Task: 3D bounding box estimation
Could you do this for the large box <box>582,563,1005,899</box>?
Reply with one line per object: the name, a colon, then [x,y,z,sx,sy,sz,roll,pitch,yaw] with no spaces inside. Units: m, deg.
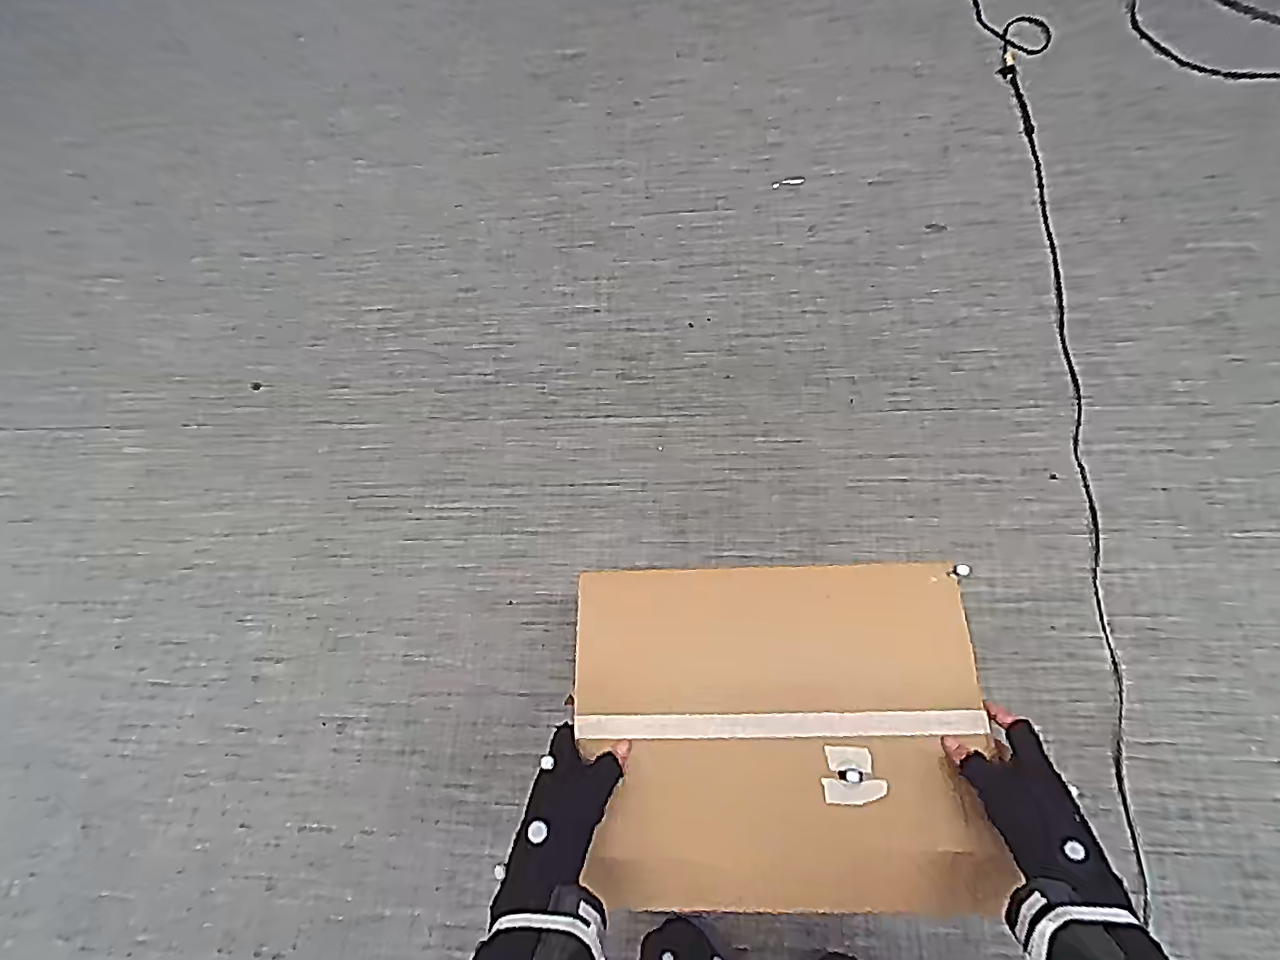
large box: [0.146,0.298,0.700,0.408,0.320,0.320,-3,71,4]
